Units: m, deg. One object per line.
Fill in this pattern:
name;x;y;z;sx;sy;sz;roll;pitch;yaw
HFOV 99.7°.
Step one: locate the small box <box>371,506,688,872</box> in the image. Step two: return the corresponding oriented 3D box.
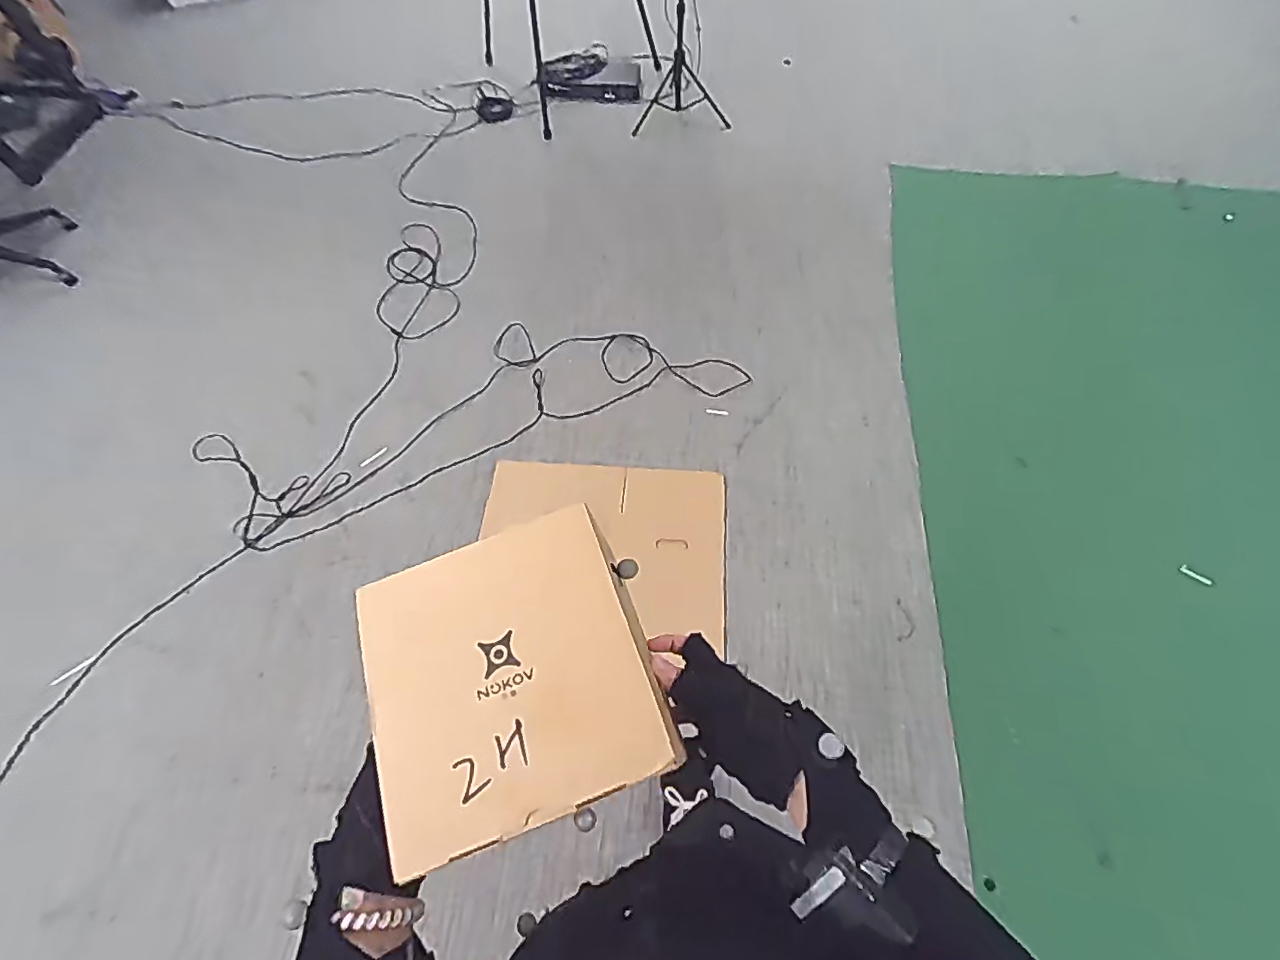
small box;-0.071;0.150;0.406;0.168;0.176;0.179;-21;64;-3
